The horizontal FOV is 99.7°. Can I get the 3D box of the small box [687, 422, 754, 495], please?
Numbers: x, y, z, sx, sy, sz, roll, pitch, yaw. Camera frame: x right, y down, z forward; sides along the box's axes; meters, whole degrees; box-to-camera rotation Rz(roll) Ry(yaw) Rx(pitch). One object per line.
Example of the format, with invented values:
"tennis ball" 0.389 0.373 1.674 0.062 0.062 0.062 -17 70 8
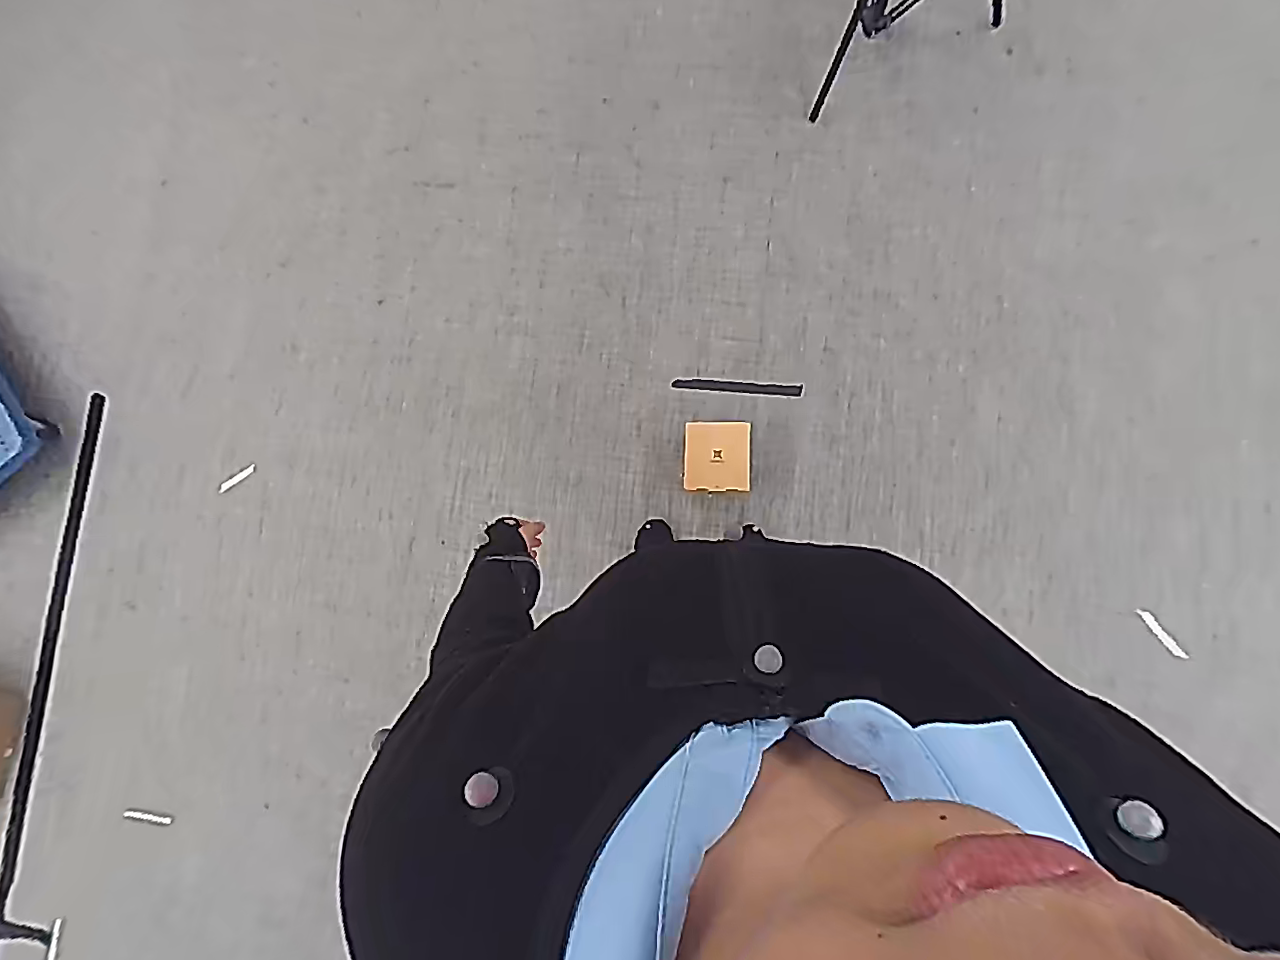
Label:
"small box" 0.209 -0.053 1.436 0.168 0.176 0.179 1 86 6
